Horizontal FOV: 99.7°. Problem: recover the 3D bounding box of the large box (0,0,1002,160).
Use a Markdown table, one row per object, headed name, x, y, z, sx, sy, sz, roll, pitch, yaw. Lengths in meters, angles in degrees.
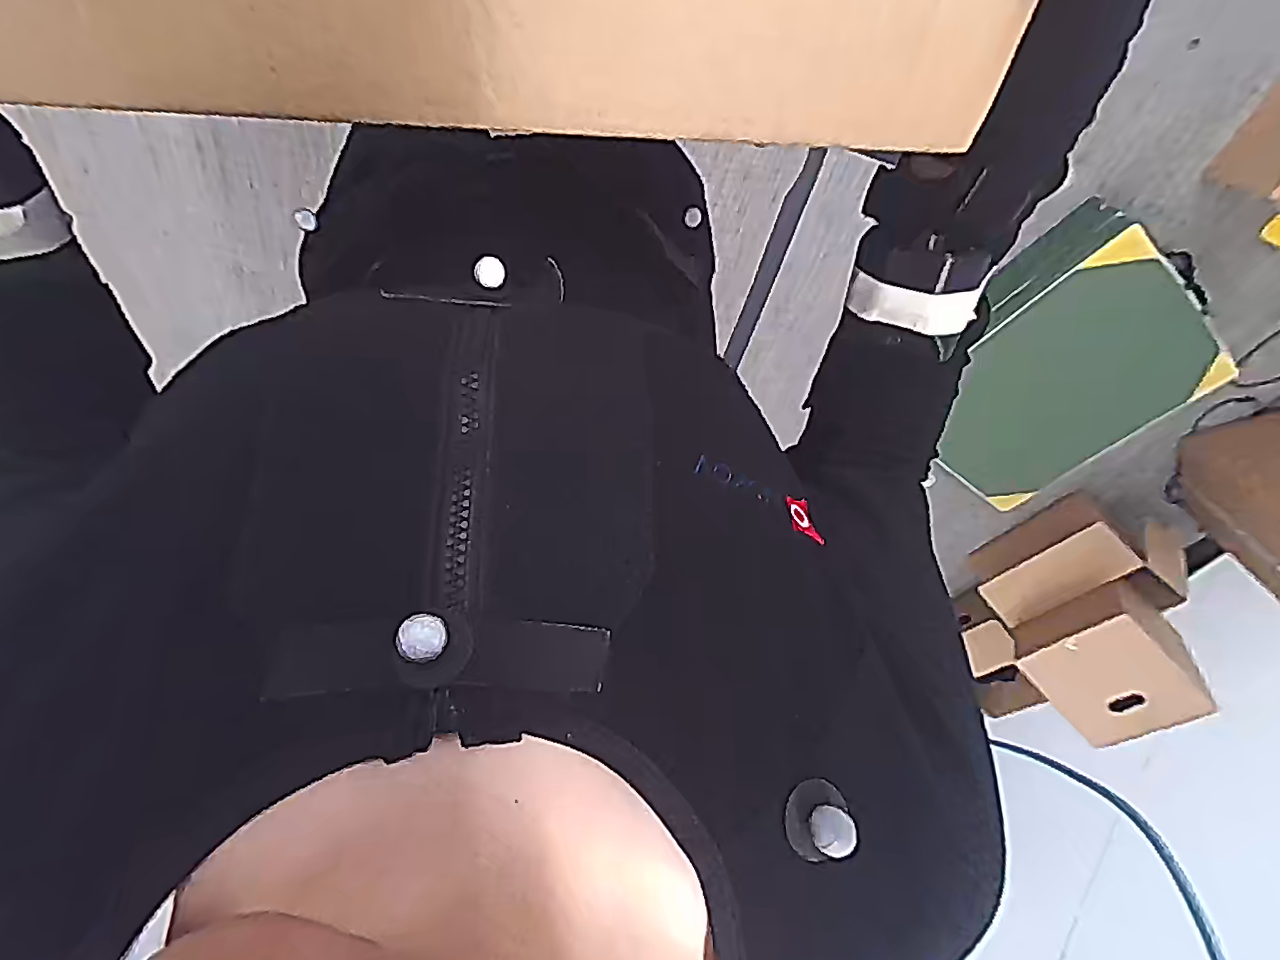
| name | x | y | z | sx | sy | sz | roll | pitch | yaw |
| --- | --- | --- | --- | --- | --- | --- | --- | --- | --- |
| large box | -0.071 | -0.346 | 0.202 | 0.408 | 0.320 | 0.320 | -2 | 138 | -6 |
